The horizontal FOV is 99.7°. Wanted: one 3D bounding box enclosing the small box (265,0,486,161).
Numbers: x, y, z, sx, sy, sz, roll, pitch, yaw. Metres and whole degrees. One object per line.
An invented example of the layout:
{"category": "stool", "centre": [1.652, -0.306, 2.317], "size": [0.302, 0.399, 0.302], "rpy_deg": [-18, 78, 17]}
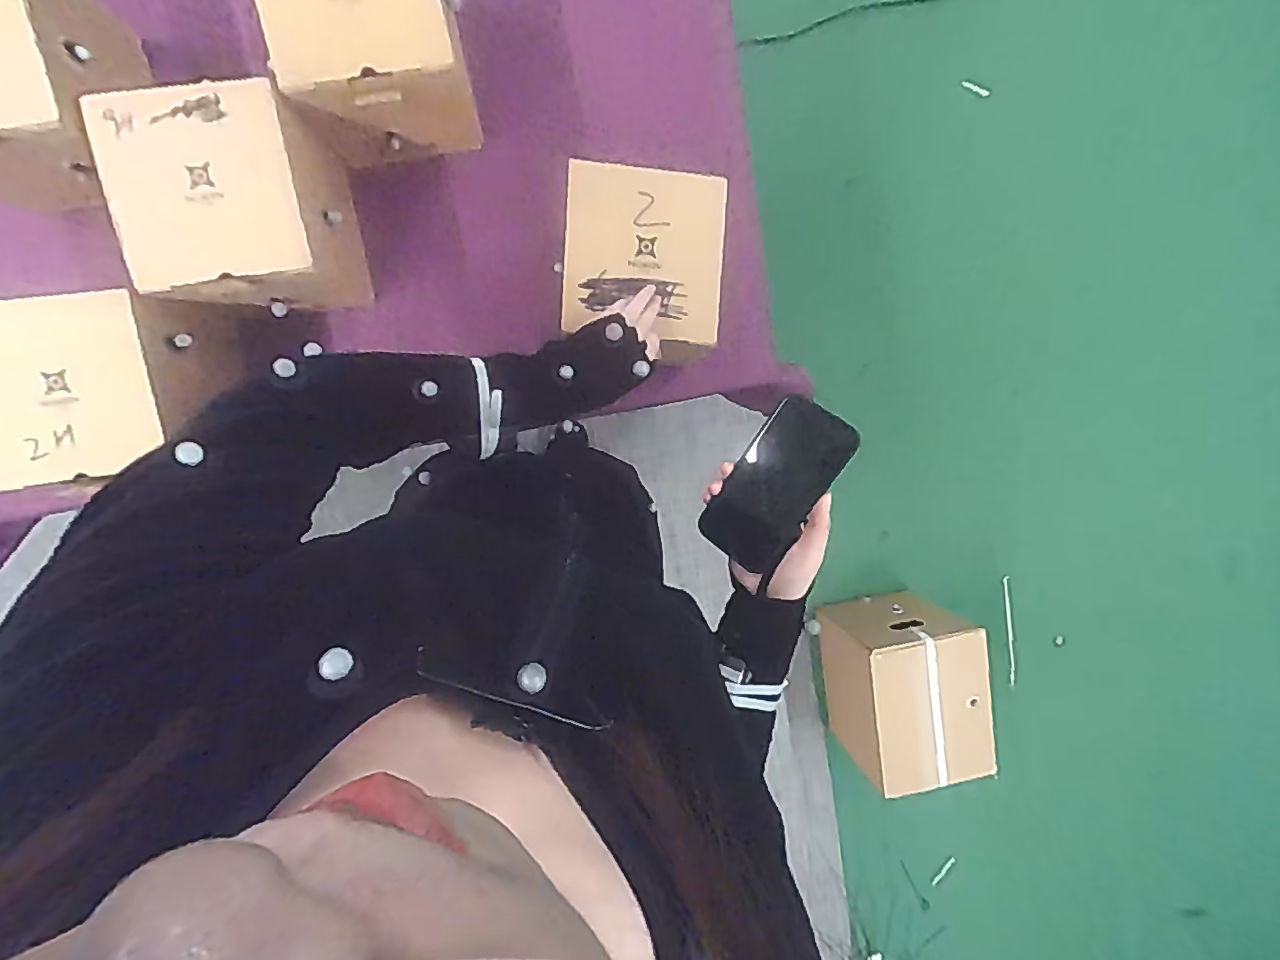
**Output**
{"category": "small box", "centre": [-0.276, -0.479, 0.577], "size": [0.168, 0.176, 0.179], "rpy_deg": [-13, 100, -5]}

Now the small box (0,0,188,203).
{"category": "small box", "centre": [-0.616, -0.401, 0.549], "size": [0.168, 0.176, 0.179], "rpy_deg": [-11, 99, -6]}

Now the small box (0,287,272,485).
{"category": "small box", "centre": [-0.550, -0.099, 0.597], "size": [0.168, 0.176, 0.179], "rpy_deg": [-8, 99, -5]}
